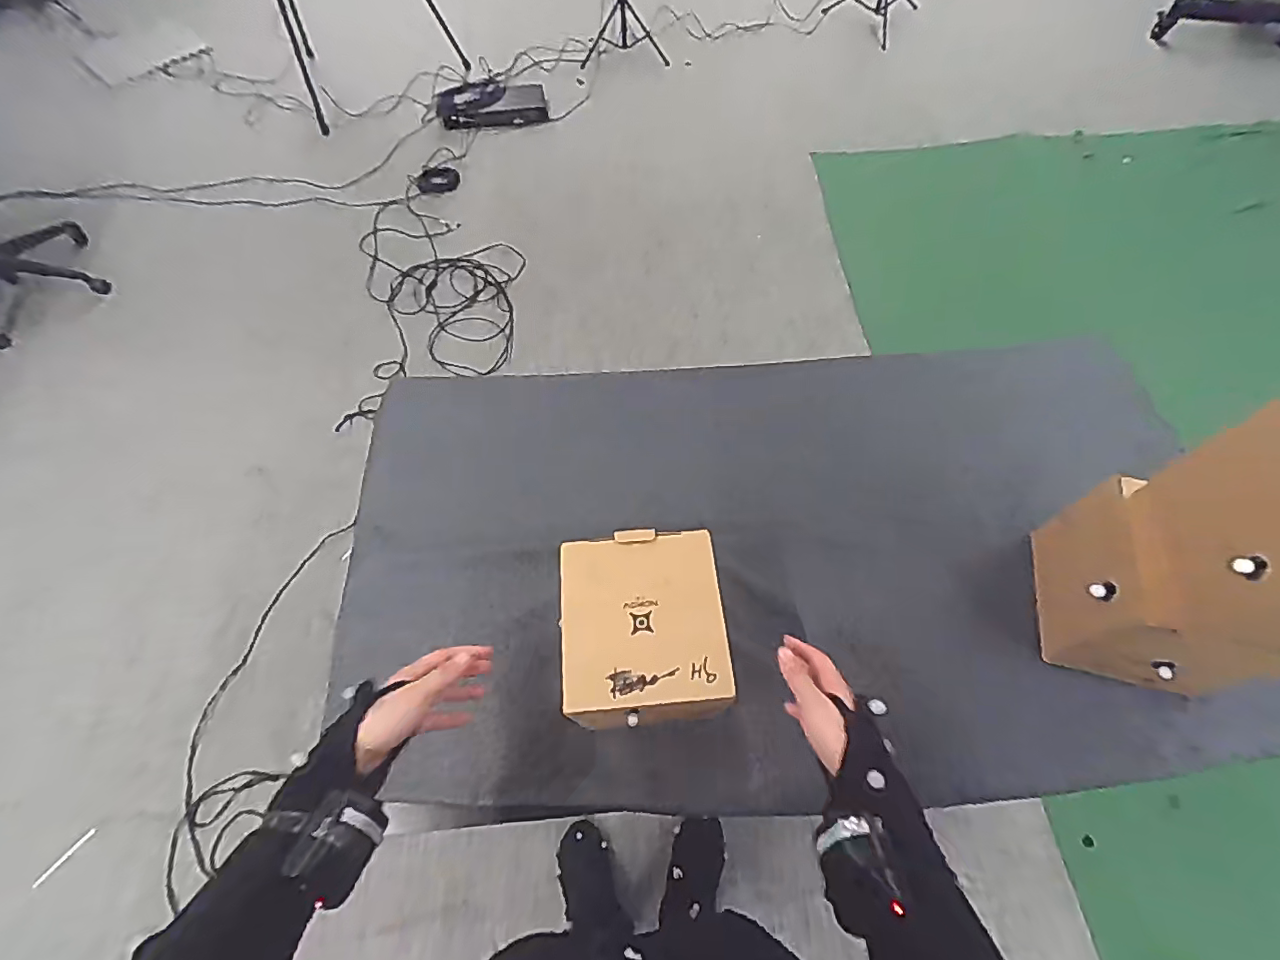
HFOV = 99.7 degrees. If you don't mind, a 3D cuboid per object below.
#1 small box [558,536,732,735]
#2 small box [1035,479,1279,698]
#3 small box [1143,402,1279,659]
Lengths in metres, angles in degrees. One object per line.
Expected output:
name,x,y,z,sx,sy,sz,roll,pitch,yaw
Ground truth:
small box,0.001,0.181,0.612,0.168,0.176,0.179,-6,62,0
small box,0.580,0.127,0.604,0.168,0.176,0.179,13,61,9
small box,0.593,0.056,0.458,0.168,0.176,0.179,9,60,6
